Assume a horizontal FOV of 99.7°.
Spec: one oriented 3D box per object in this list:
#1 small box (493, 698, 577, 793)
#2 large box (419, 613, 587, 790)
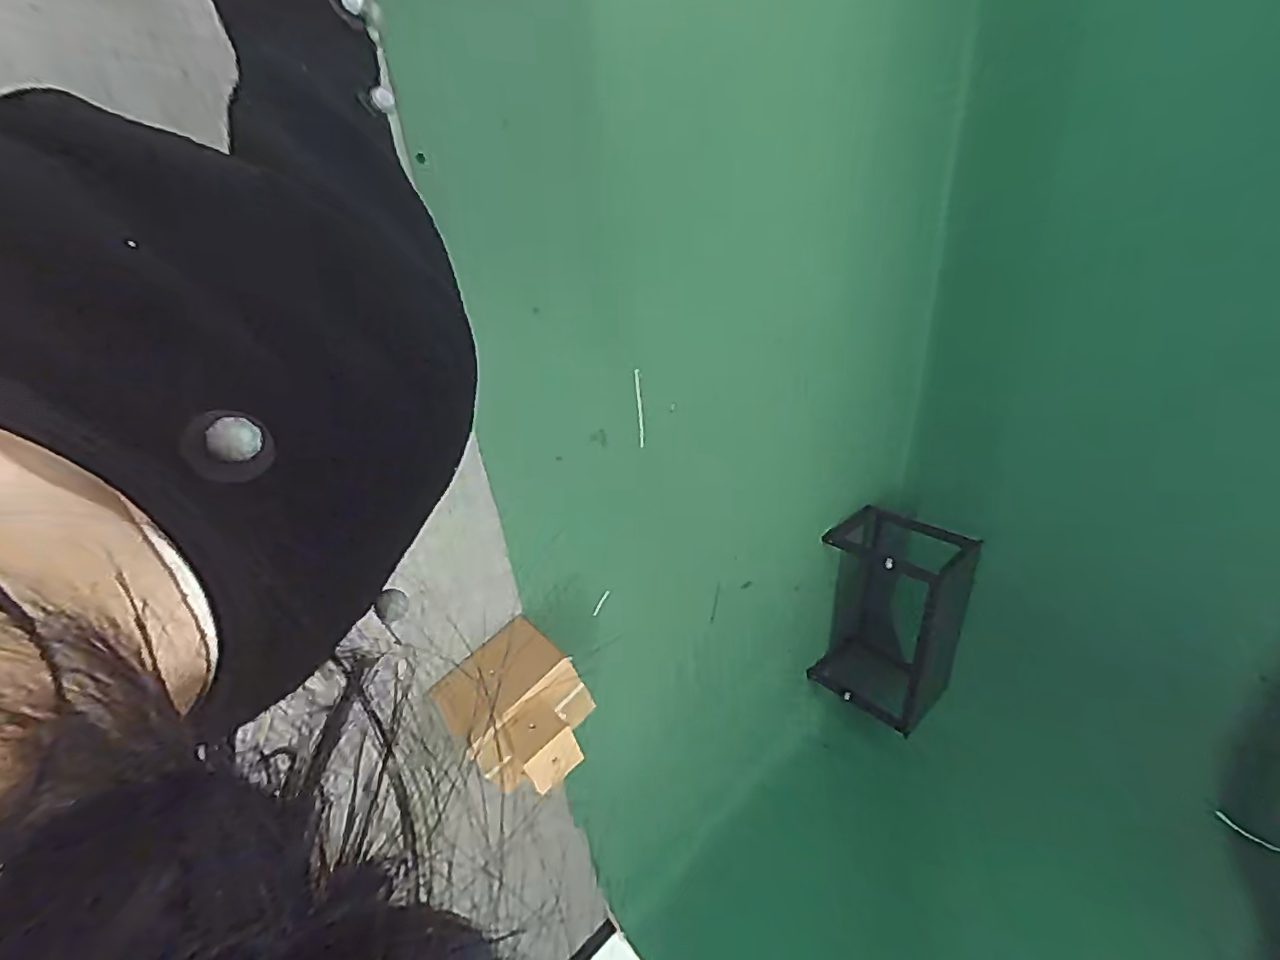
[{"bbox_3d":[-0.327,0.809,1.670,0.168,0.176,0.179,-34,127,-29],"label":"small box"},{"bbox_3d":[-0.466,0.748,1.869,0.408,0.320,0.320,-40,132,-27],"label":"large box"}]
